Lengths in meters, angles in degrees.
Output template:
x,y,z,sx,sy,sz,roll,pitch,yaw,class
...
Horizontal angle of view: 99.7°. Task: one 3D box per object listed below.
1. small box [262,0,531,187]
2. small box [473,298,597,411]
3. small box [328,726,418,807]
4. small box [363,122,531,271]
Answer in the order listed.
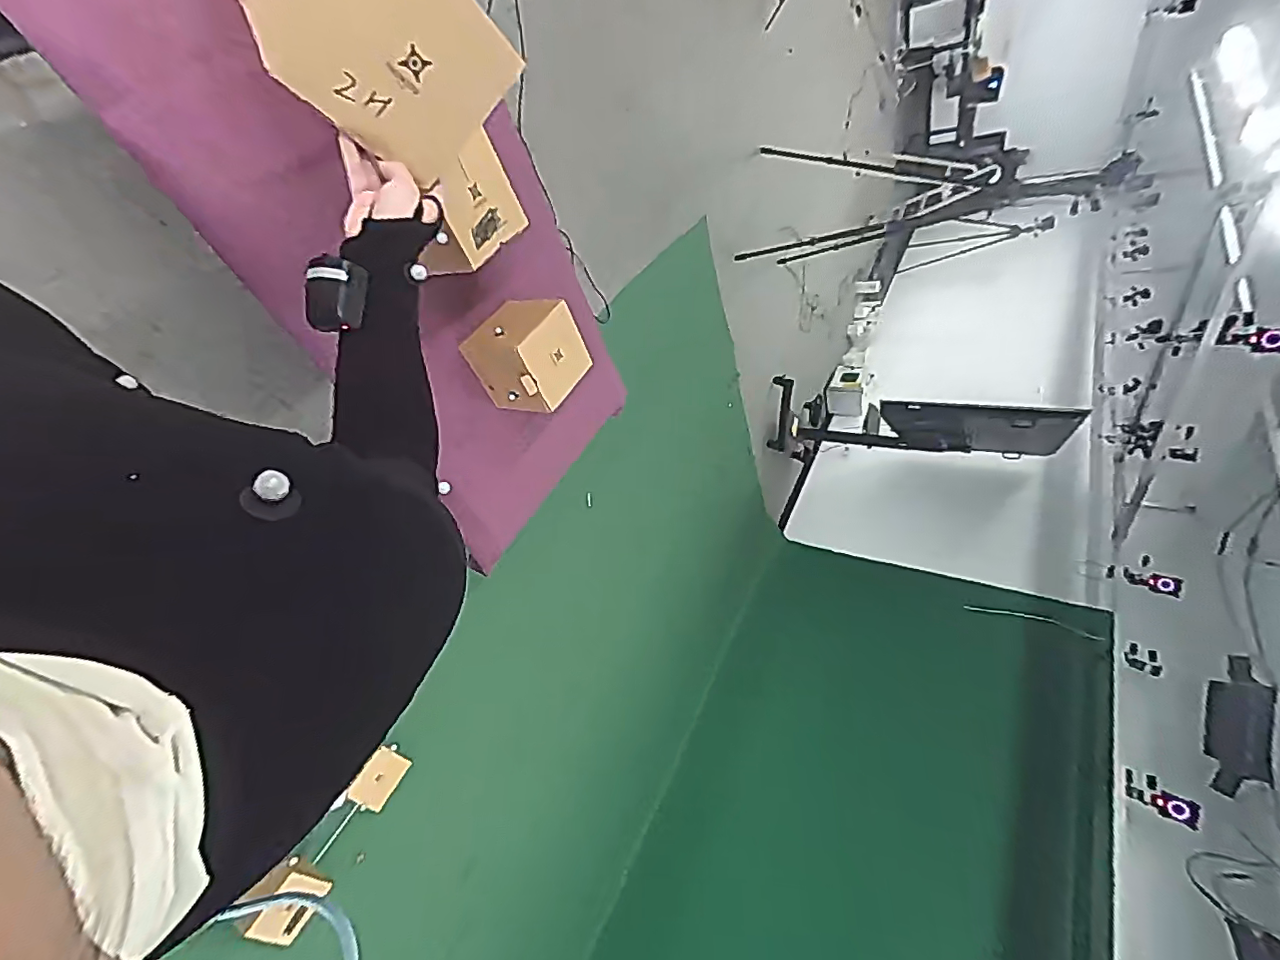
x,y,z,sx,sy,sz,roll,pitch,yaw,class
-0.249,-0.456,0.546,0.179,0.176,0.168,-40,151,16,small box
-0.228,-0.268,1.153,0.179,0.176,0.168,-57,141,-31,small box
-0.896,0.952,1.809,0.168,0.176,0.179,-57,142,-31,small box
-0.330,-0.482,0.938,0.168,0.176,0.179,-58,140,-30,small box
